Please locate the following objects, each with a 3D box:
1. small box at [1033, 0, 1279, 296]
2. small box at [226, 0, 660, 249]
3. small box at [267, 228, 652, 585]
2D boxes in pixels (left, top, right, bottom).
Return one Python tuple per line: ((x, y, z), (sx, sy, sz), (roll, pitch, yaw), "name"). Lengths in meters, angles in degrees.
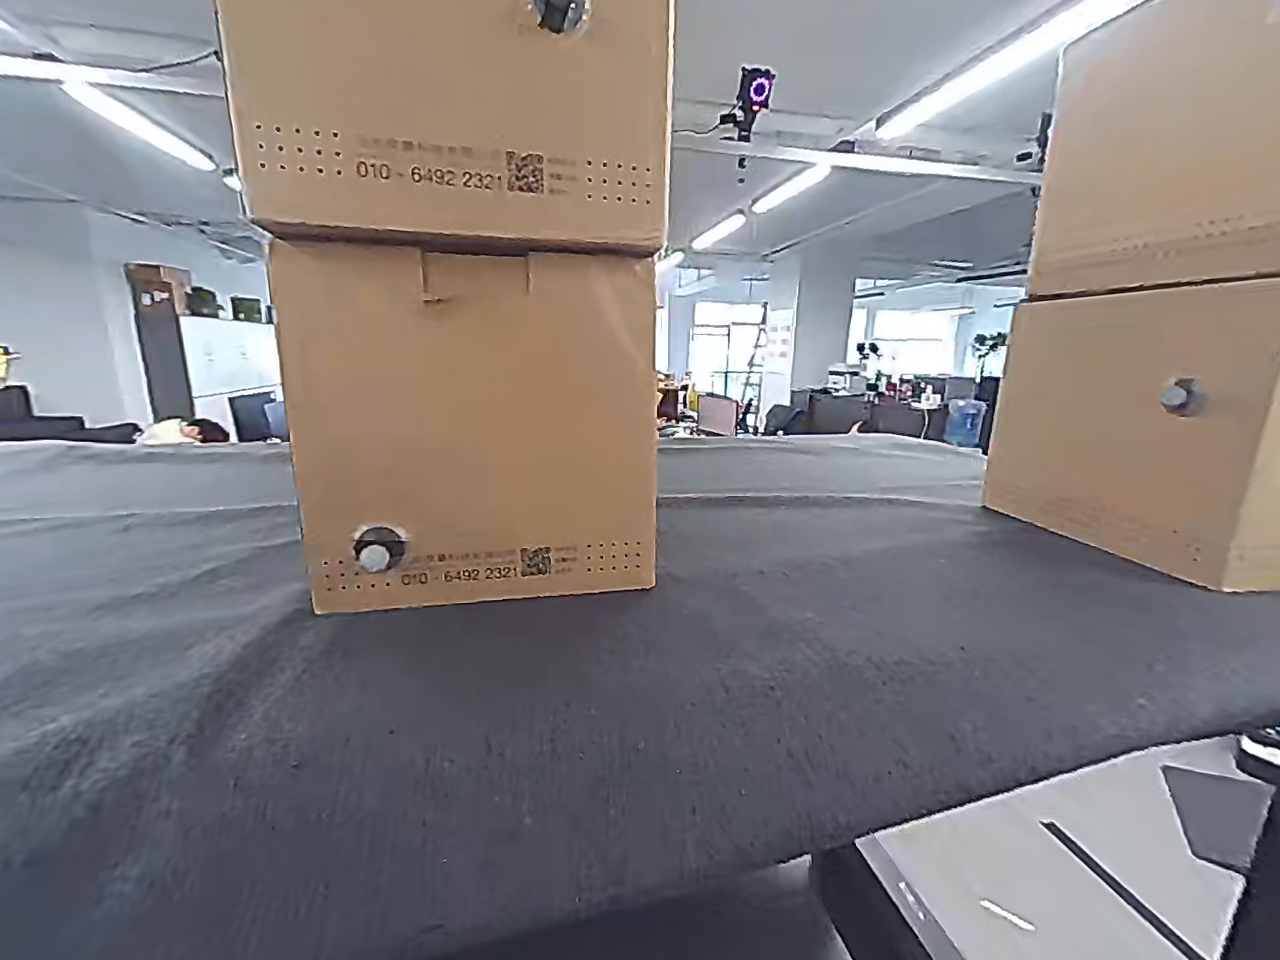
((0.382, -0.202, 0.322), (0.168, 0.176, 0.179), (-3, 14, -11), "small box")
((-0.087, -0.197, 0.282), (0.168, 0.176, 0.179), (-1, 12, -14), "small box")
((-0.089, -0.041, 0.330), (0.168, 0.176, 0.179), (-2, 12, -12), "small box")
